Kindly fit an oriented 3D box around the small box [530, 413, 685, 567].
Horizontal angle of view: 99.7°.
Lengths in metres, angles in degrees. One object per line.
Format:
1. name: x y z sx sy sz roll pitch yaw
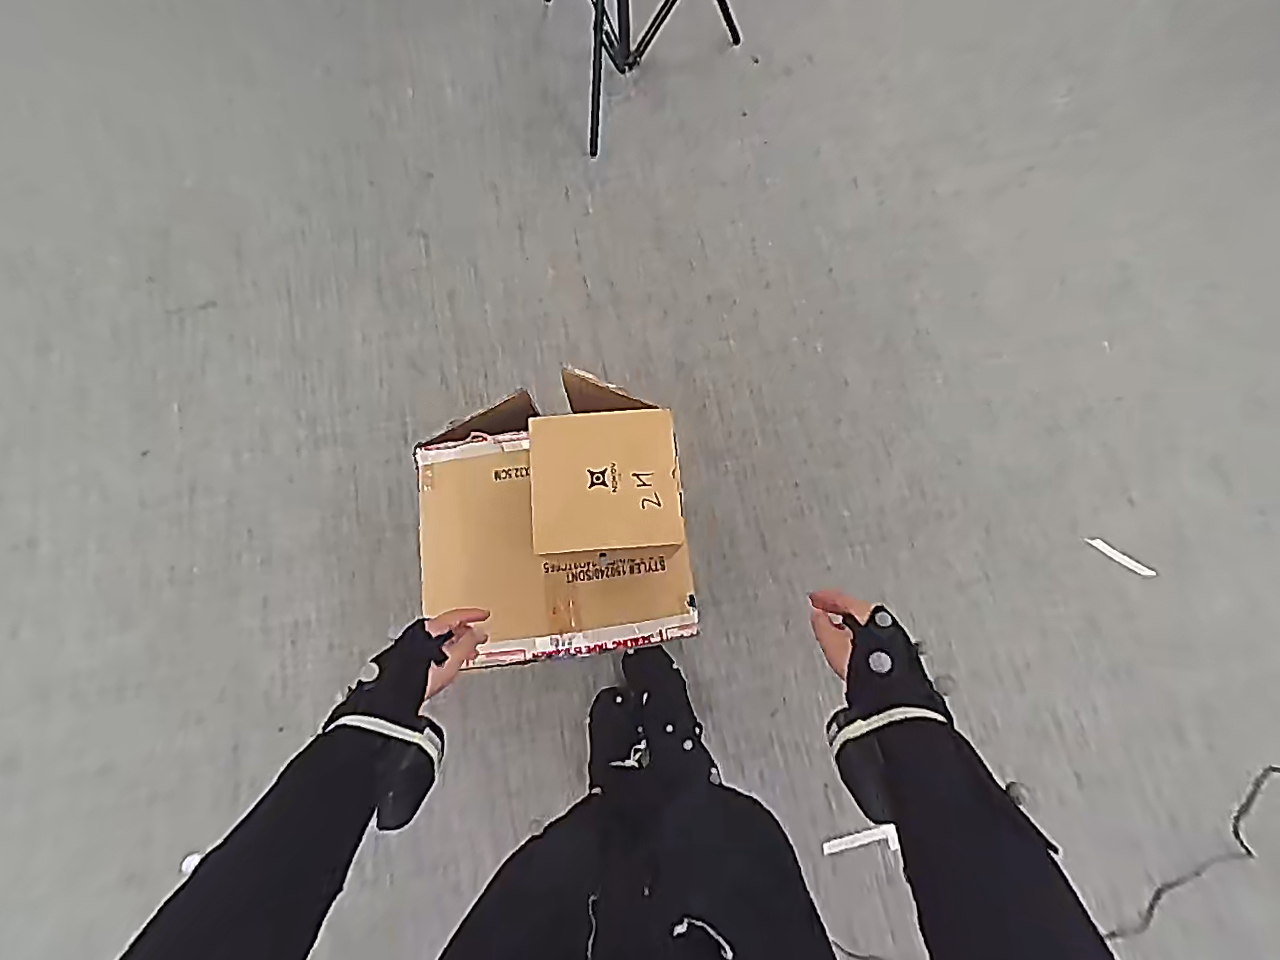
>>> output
1. small box: -0.040 0.022 0.708 0.179 0.176 0.168 -4 78 -2
